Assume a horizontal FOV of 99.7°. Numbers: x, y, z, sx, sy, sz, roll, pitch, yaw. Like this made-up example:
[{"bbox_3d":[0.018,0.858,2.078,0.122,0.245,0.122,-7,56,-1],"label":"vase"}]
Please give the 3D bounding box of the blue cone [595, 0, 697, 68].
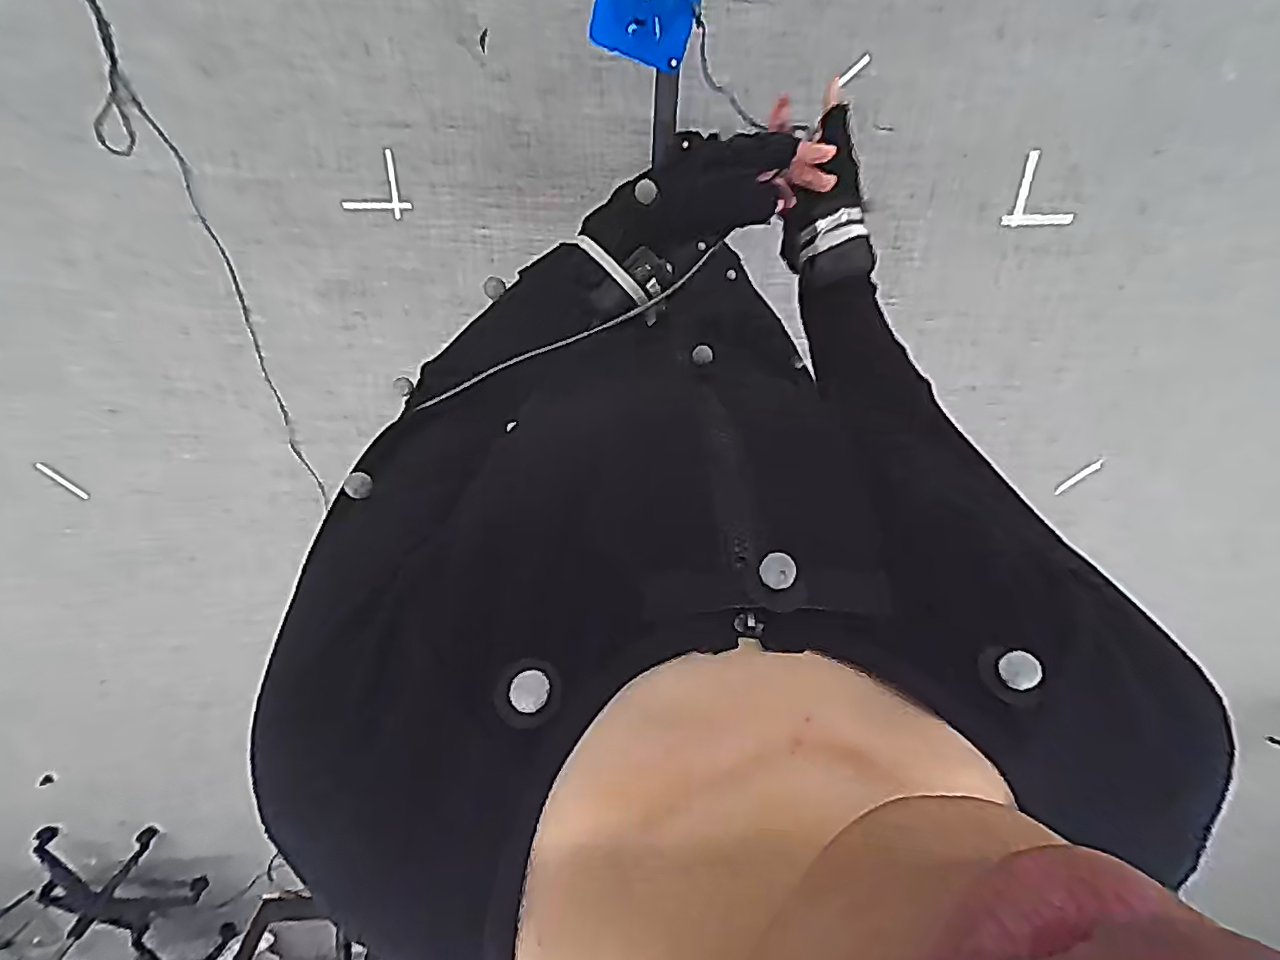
[{"bbox_3d":[0.026,-0.890,0.938,0.192,0.380,0.193,15,114,-12],"label":"blue cone"}]
